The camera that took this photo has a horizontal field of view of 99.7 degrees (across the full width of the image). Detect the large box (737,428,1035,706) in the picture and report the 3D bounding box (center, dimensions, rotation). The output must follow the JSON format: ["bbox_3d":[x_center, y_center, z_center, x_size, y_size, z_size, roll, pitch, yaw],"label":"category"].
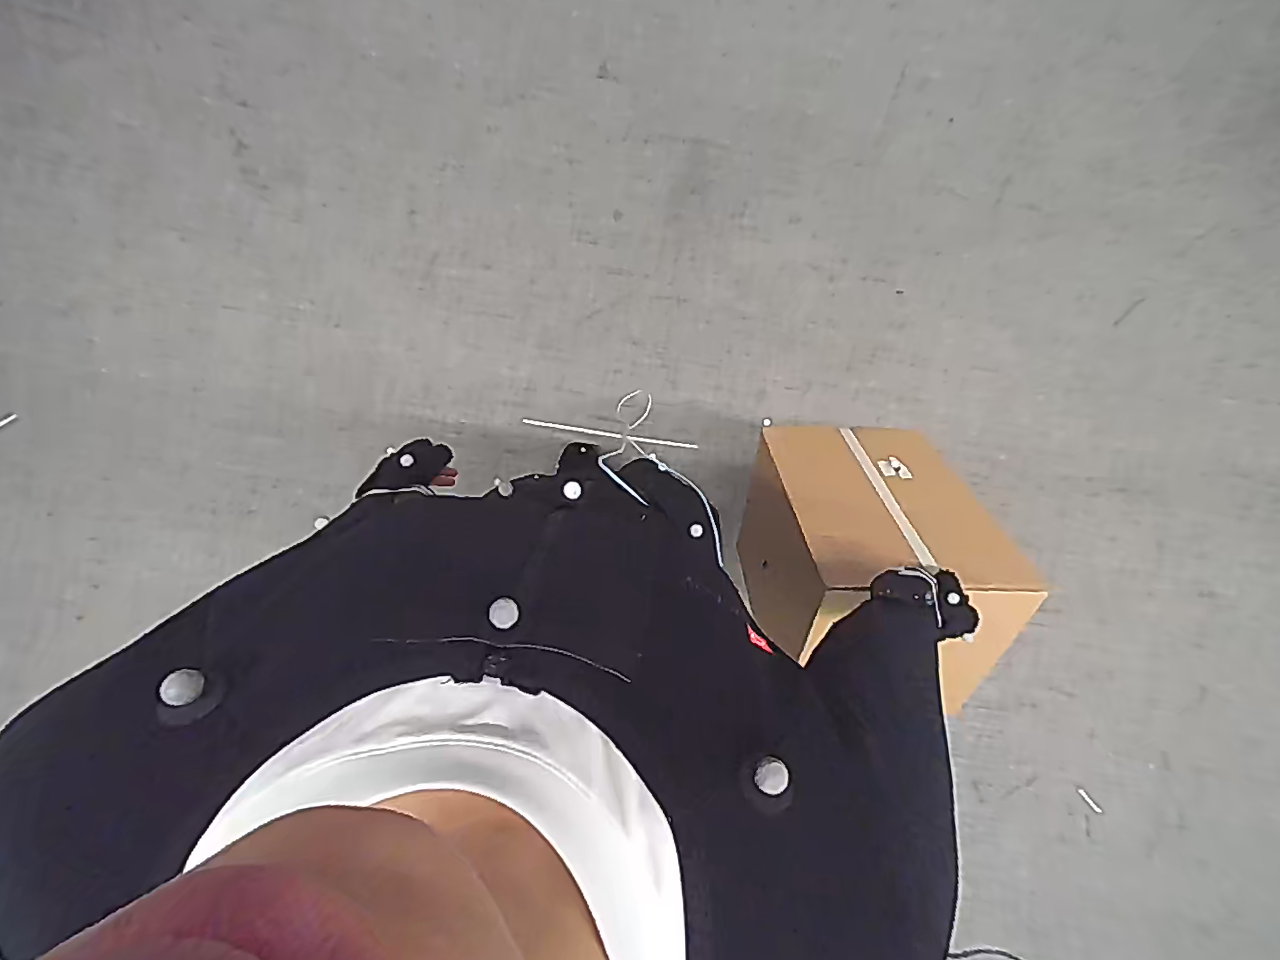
[{"bbox_3d":[0.381,0.144,0.980,0.320,0.408,0.320,2,127,-4],"label":"large box"}]
